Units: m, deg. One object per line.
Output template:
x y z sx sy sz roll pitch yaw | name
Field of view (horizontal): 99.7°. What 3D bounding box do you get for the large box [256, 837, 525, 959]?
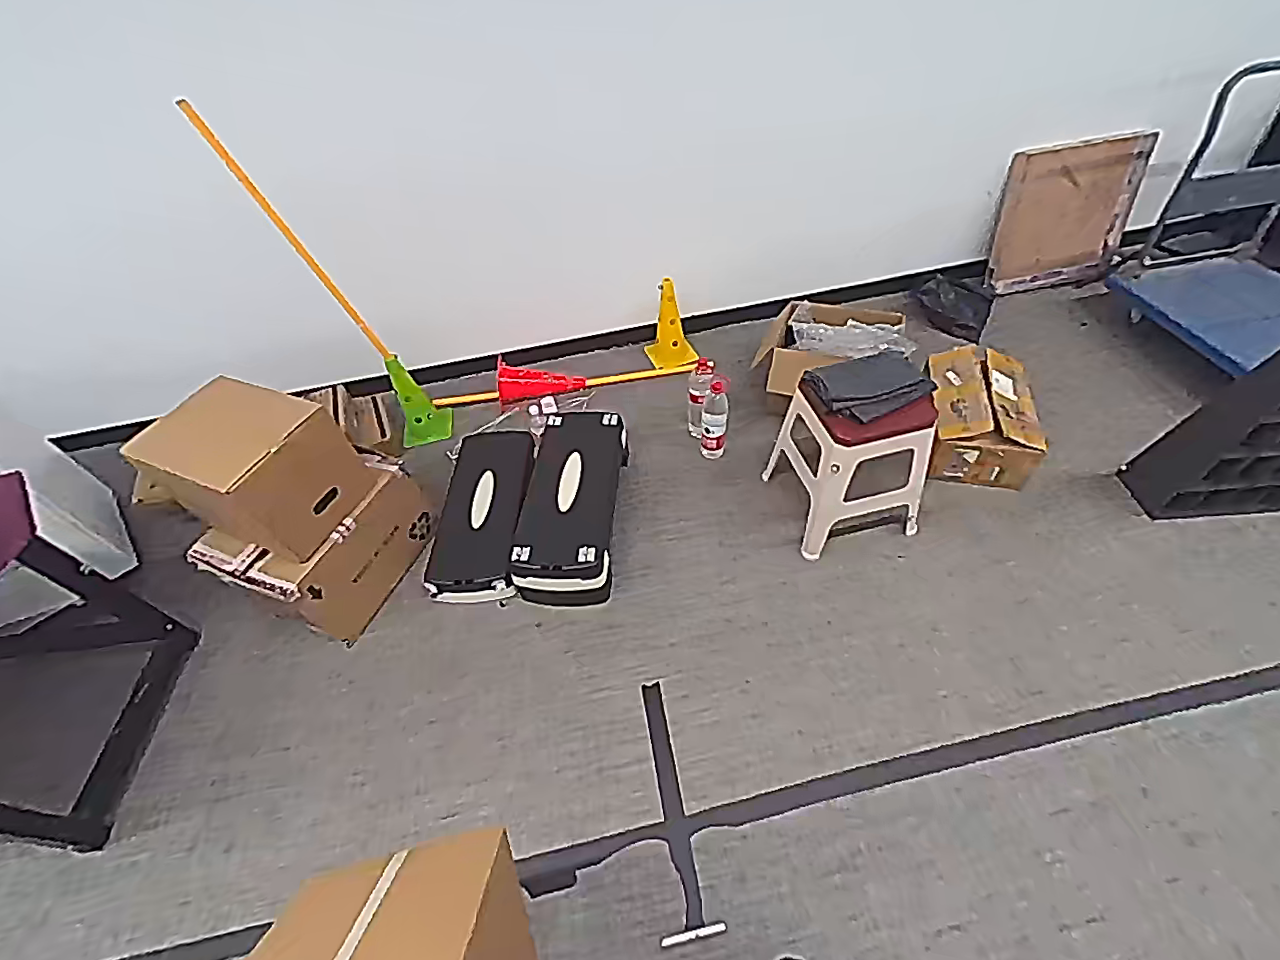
-0.318 0.740 0.649 0.320 0.408 0.320 -14 90 -4 | large box
